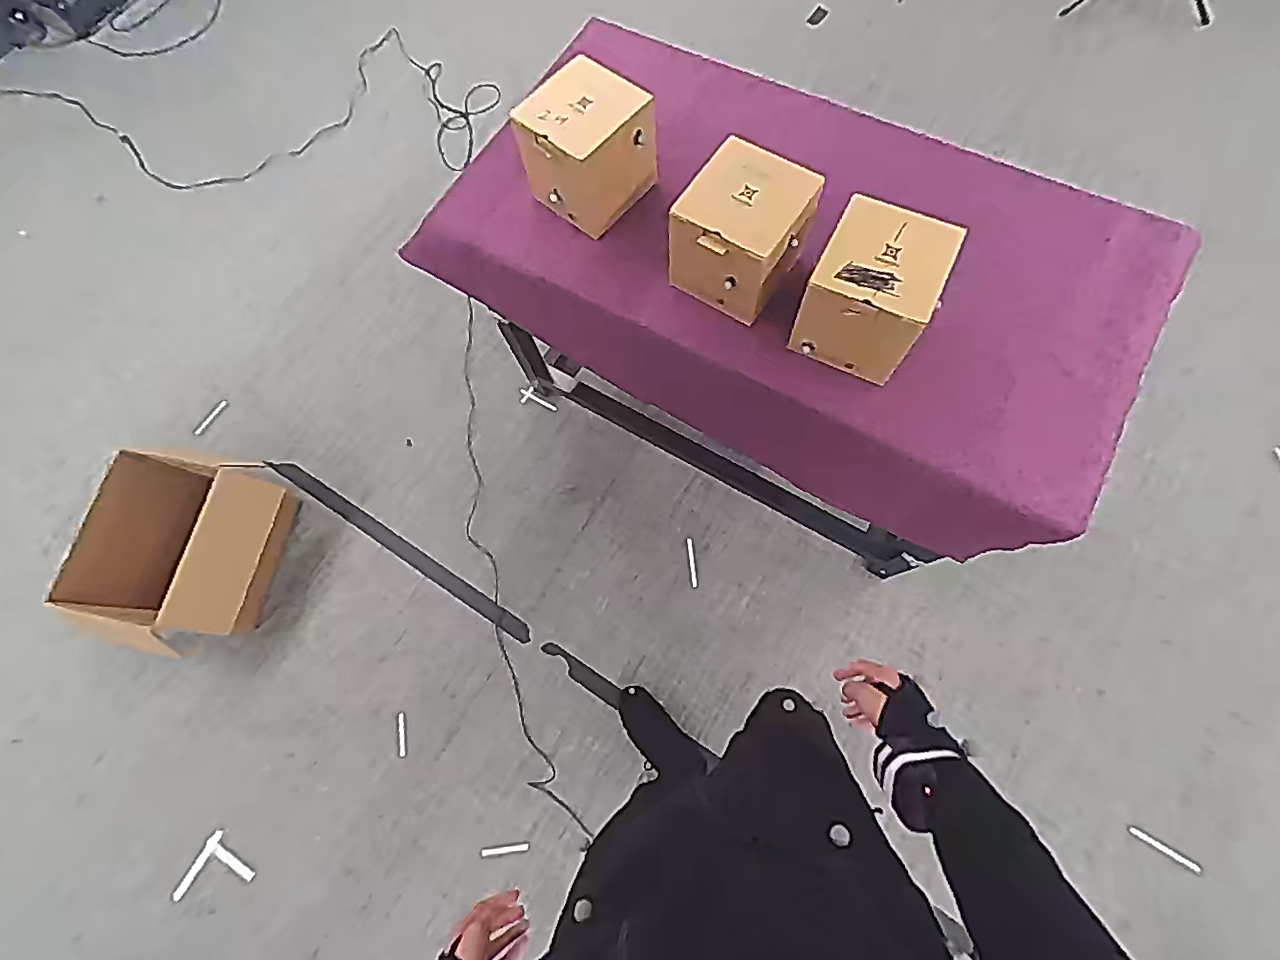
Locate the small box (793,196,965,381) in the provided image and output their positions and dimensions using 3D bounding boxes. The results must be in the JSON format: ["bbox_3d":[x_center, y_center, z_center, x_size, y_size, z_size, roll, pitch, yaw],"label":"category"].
[{"bbox_3d":[0.348,-0.281,0.821,0.168,0.176,0.179,26,74,12],"label":"small box"}]

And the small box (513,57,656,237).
[{"bbox_3d":[-0.088,-0.572,0.943,0.168,0.176,0.179,40,79,15],"label":"small box"}]

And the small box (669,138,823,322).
[{"bbox_3d":[0.163,-0.391,0.871,0.168,0.176,0.179,33,77,12],"label":"small box"}]
